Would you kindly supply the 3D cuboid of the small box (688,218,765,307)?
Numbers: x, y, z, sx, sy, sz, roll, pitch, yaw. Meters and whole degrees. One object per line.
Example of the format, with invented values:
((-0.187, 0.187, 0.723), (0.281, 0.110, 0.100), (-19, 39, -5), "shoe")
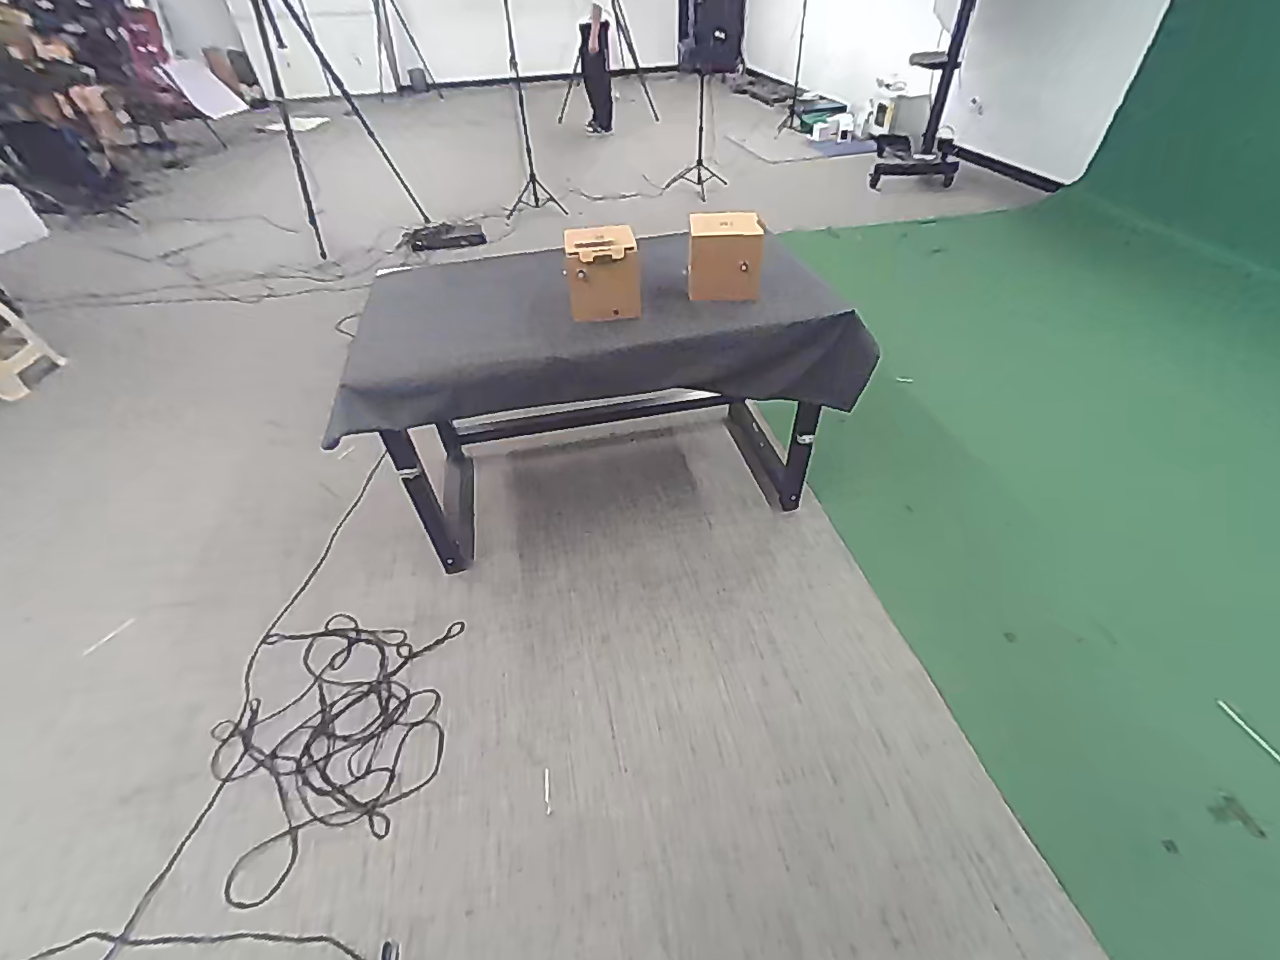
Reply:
((0.215, -0.558, 1.394), (0.179, 0.176, 0.168), (-1, 42, 3), "small box")
